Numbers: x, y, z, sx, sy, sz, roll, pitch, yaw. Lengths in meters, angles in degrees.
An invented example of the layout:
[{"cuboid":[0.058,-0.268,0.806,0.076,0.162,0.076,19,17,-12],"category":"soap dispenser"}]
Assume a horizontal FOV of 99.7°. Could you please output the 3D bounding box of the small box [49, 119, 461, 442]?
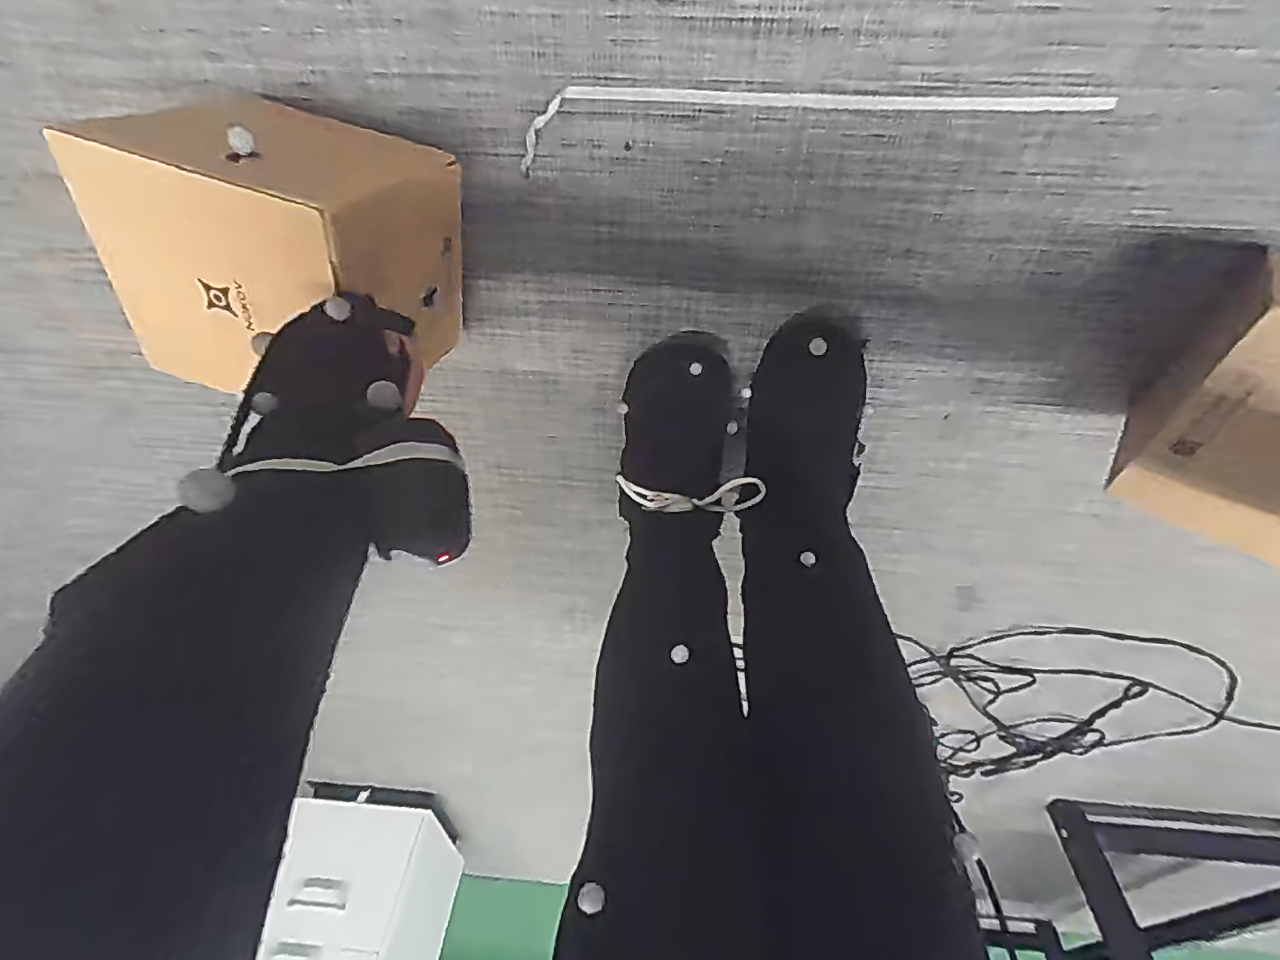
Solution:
[{"cuboid":[-0.260,-0.162,0.422,0.179,0.176,0.168,16,131,0],"category":"small box"}]
